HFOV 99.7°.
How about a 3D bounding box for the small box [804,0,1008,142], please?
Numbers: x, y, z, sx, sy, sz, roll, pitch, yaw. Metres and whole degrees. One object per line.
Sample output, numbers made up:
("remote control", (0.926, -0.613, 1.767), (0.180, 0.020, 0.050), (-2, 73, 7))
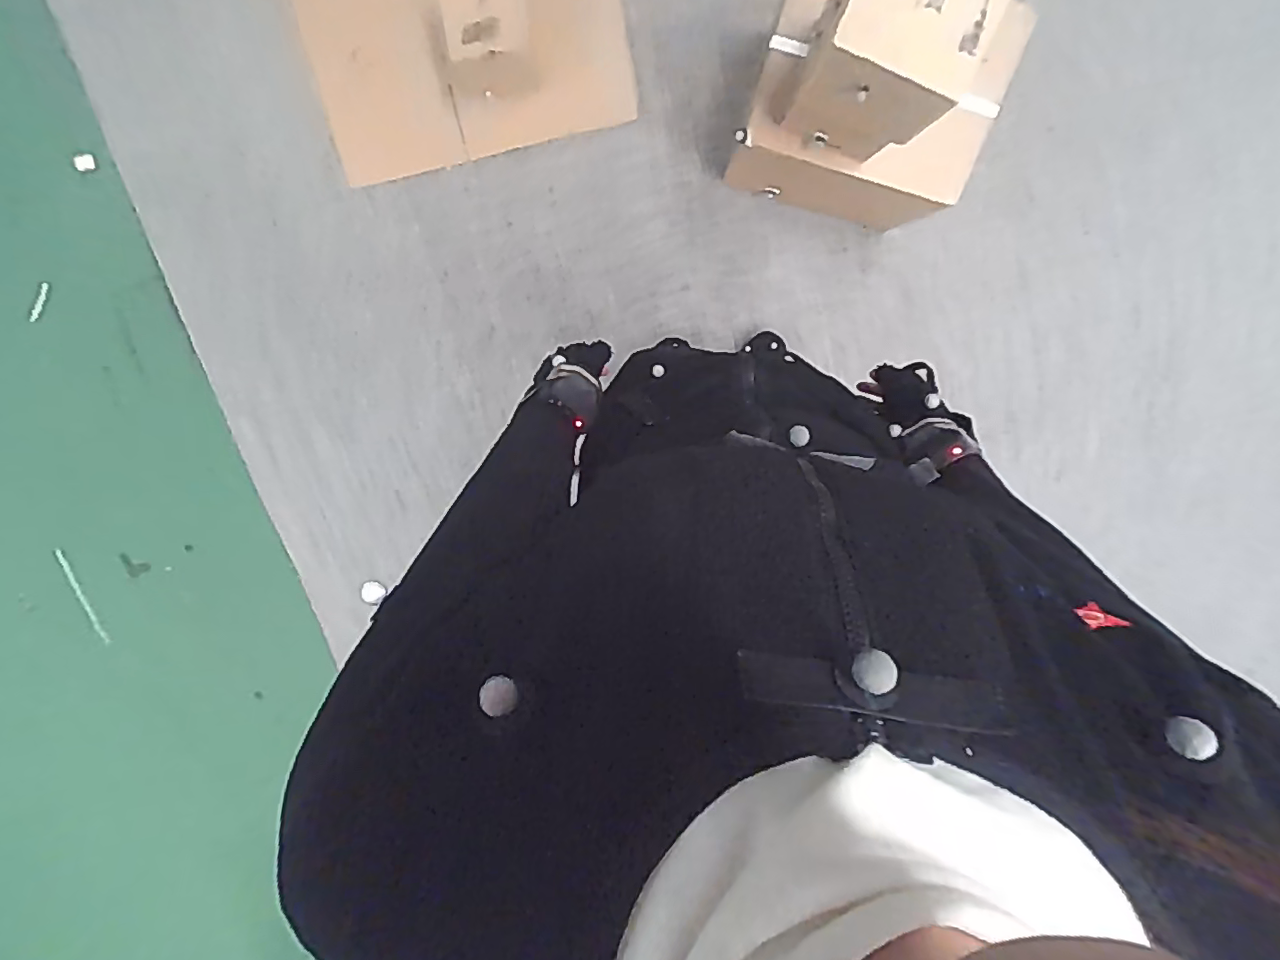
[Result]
("small box", (0.337, -0.575, 0.702), (0.179, 0.176, 0.168), (19, 104, -3))

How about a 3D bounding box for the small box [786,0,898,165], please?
("small box", (0.347, -0.634, 0.853), (0.168, 0.176, 0.179), (19, 107, -2))
